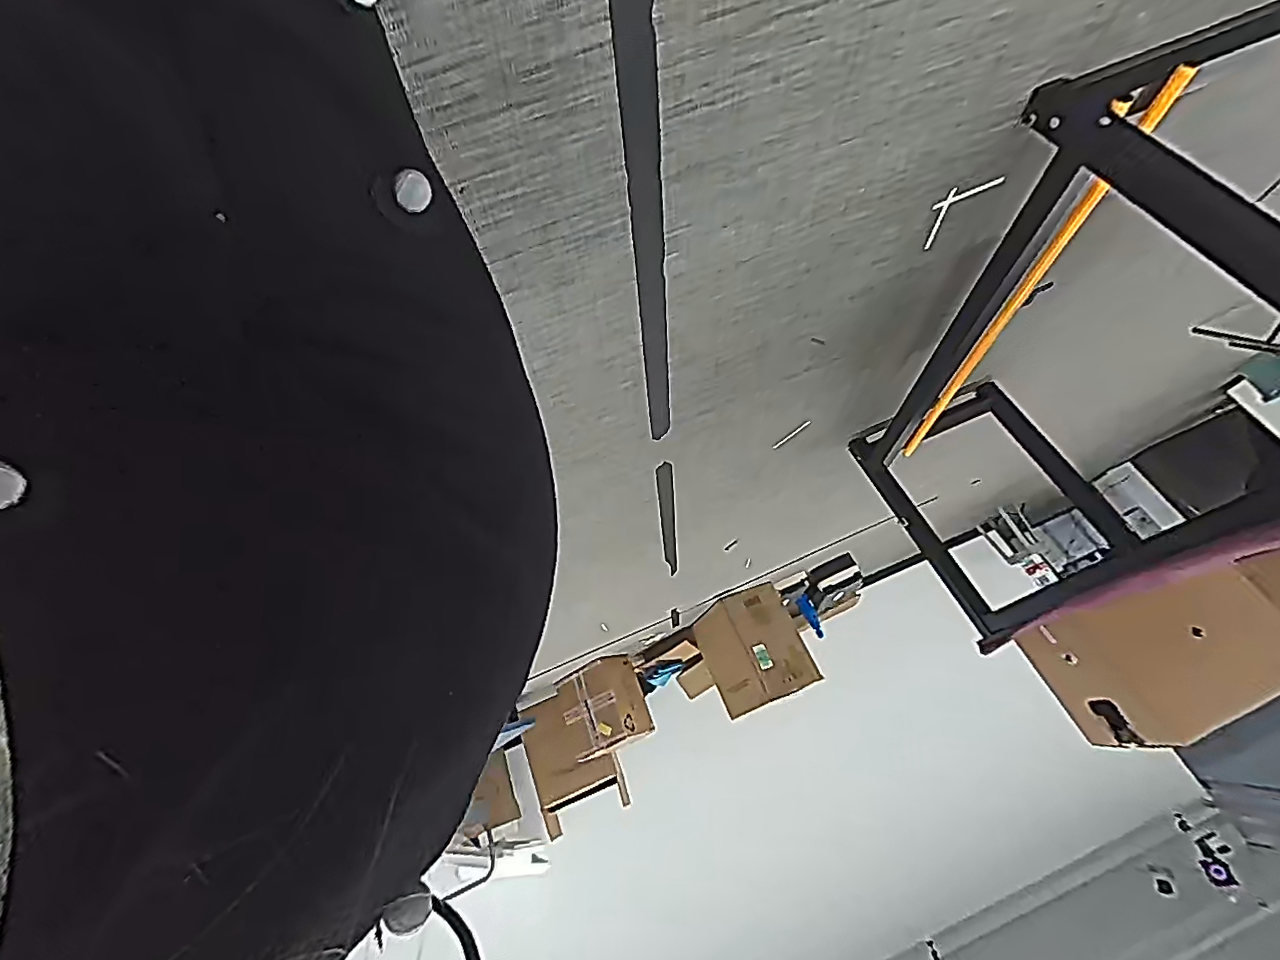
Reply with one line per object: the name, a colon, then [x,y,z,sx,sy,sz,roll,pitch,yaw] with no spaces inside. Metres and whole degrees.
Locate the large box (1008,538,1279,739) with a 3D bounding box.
large box: [1.263,0.403,1.358,0.408,0.320,0.320,-24,155,-6]
